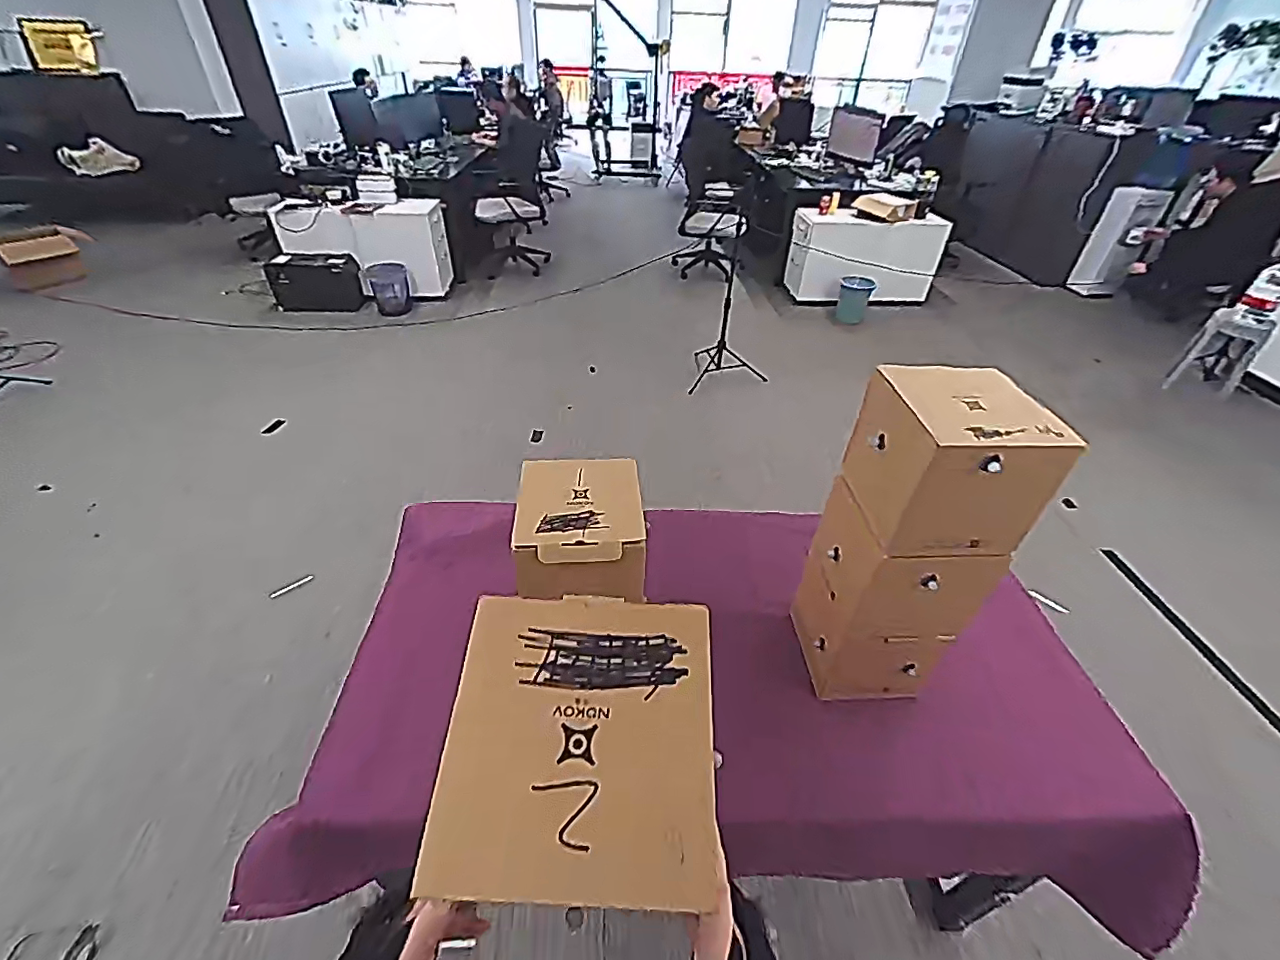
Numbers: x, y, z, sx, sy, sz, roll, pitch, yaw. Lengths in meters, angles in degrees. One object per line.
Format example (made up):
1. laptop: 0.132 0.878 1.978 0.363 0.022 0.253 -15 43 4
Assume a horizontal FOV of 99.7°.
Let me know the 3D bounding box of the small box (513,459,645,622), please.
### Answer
1. small box: -0.081 0.088 0.770 0.168 0.176 0.179 -1 39 -5

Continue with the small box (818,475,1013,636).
1. small box: 0.368 0.107 0.770 0.179 0.176 0.168 0 40 -4

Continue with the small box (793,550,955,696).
1. small box: 0.363 0.232 0.876 0.168 0.176 0.179 0 39 -3

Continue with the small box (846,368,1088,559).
1. small box: 0.379 -0.023 0.672 0.168 0.176 0.179 0 39 -3

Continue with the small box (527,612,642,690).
1. small box: -0.086 0.216 0.873 0.168 0.176 0.179 0 40 -4
